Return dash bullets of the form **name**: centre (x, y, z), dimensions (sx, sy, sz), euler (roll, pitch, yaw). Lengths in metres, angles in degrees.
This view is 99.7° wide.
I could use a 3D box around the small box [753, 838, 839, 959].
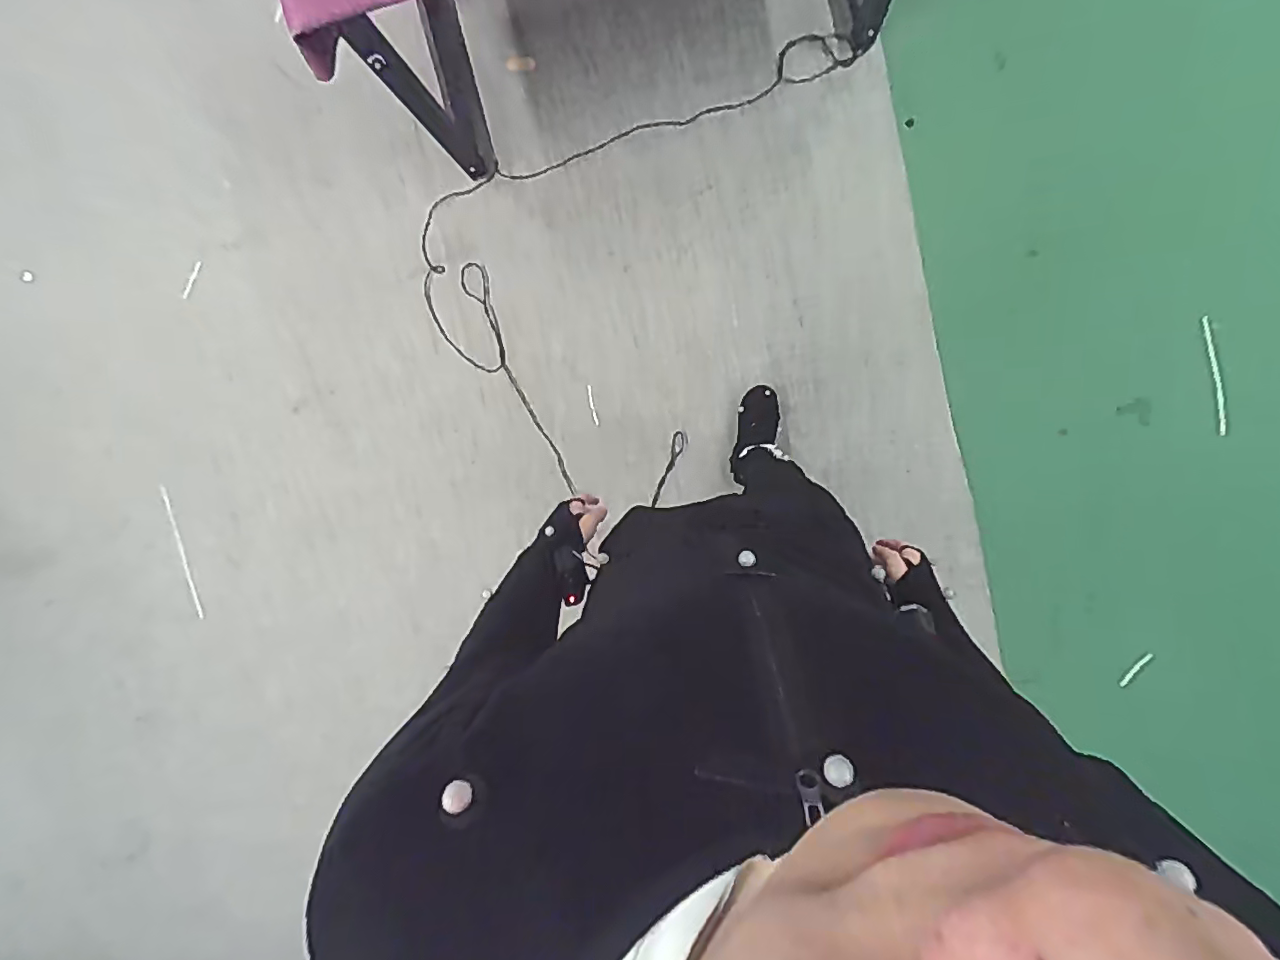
- **small box**: centre (0.395, 1.072, 1.393), dimensions (0.168, 0.176, 0.179), euler (-13, 94, 7)
